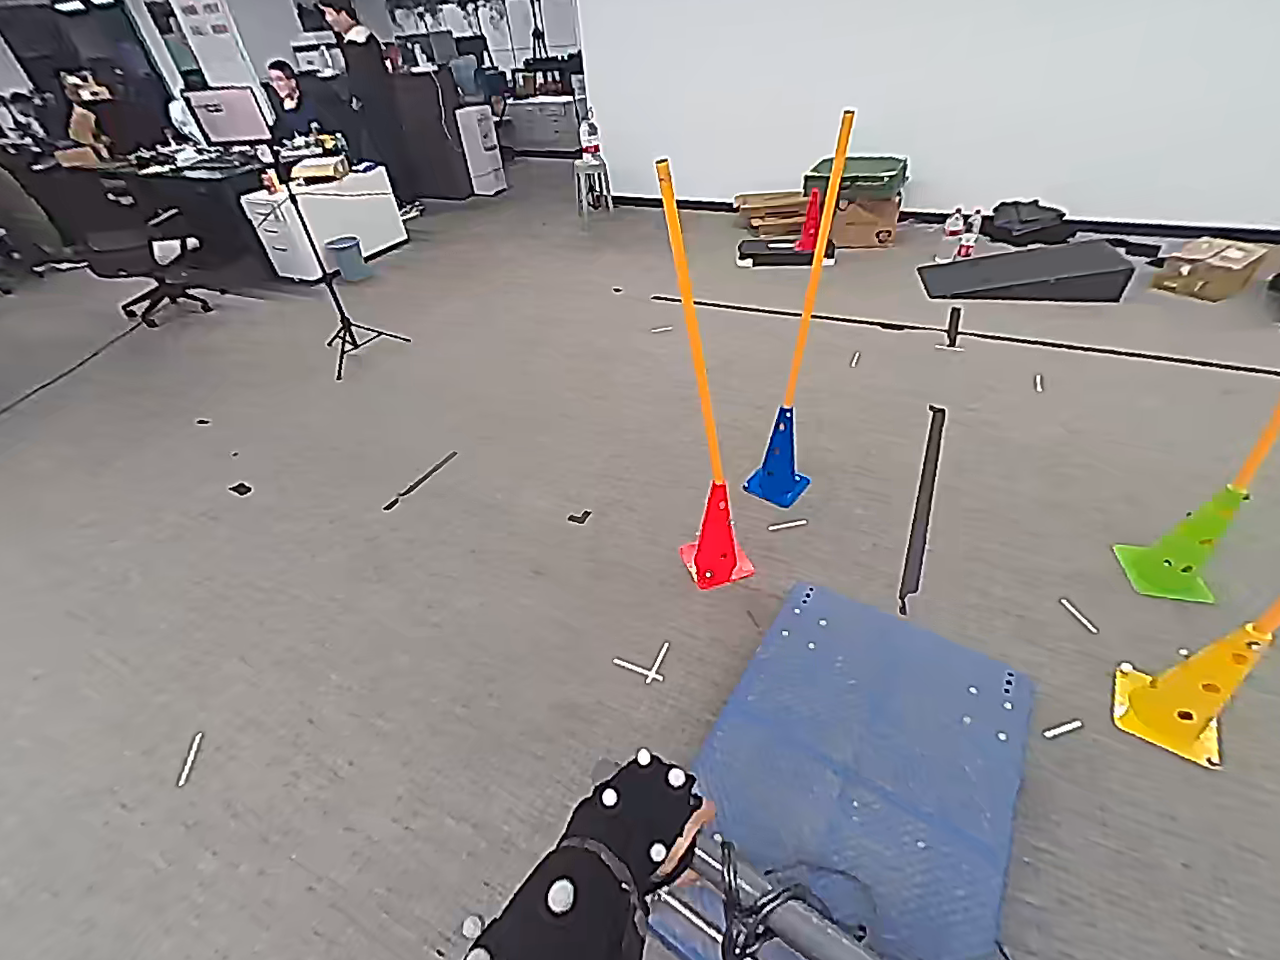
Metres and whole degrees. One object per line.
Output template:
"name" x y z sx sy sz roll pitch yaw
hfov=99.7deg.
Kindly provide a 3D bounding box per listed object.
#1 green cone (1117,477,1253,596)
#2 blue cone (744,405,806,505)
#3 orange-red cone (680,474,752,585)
"green cone" 1.581 0.135 1.529 0.200 0.368 0.202 5 43 12
"blue cone" 0.504 -0.111 1.950 0.193 0.380 0.192 28 51 32
"orange-red cone" 0.241 0.125 1.682 0.199 0.360 0.198 -14 42 -12
